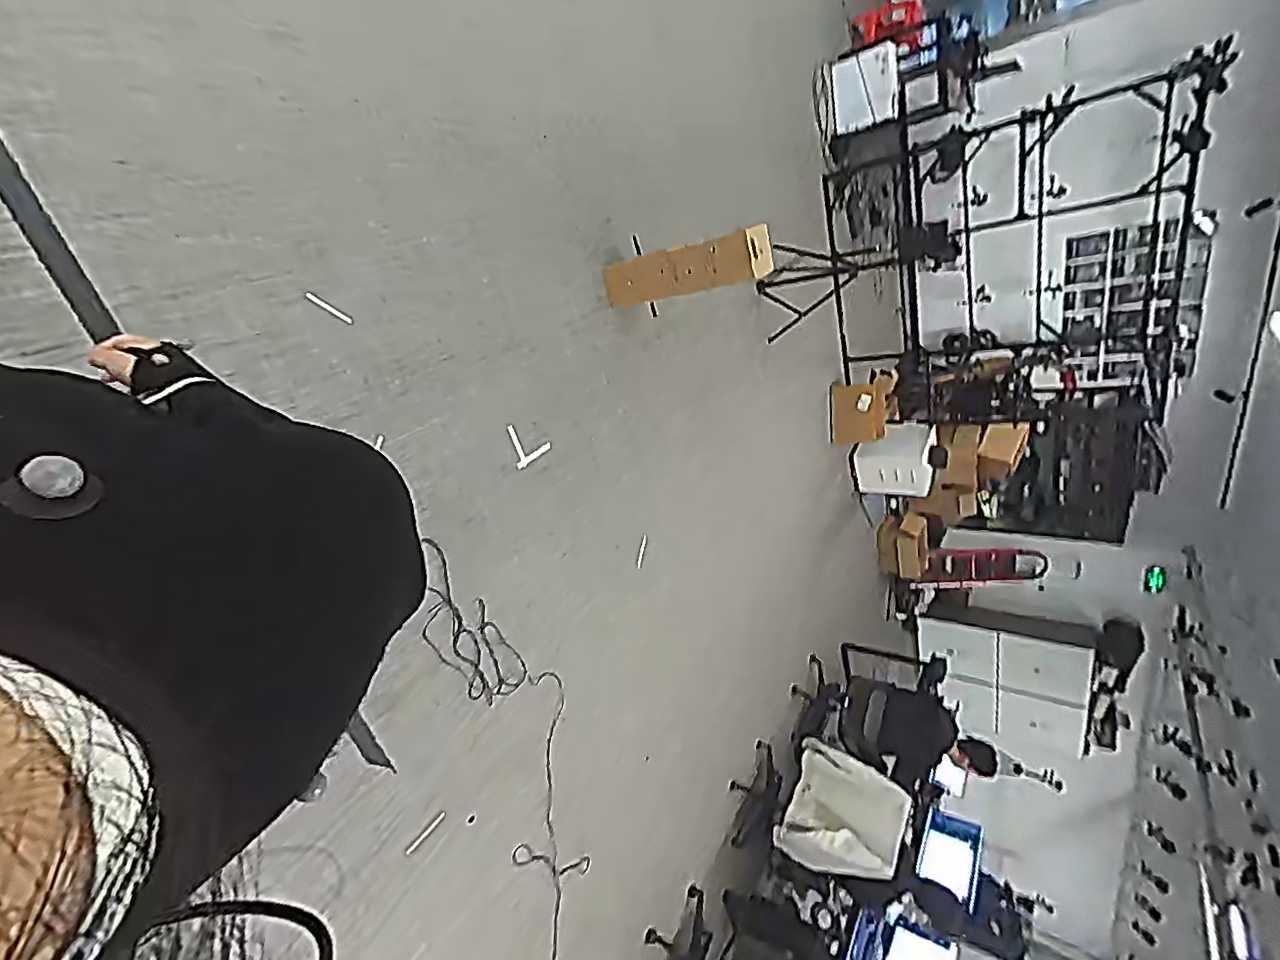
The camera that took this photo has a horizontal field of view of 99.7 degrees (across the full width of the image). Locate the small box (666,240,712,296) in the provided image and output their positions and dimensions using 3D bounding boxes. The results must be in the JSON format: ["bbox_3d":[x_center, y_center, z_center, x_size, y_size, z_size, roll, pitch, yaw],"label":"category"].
[{"bbox_3d":[0.213,-0.814,2.061,0.179,0.176,0.168,-38,121,-43],"label":"small box"}]

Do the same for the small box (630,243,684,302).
[{"bbox_3d":[0.081,-0.827,2.157,0.168,0.176,0.179,-37,120,-43],"label":"small box"}]

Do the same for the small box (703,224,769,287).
[{"bbox_3d":[0.343,-0.811,1.959,0.179,0.176,0.168,-40,122,-44],"label":"small box"}]

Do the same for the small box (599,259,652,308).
[{"bbox_3d":[-0.044,-0.829,2.264,0.168,0.176,0.179,-40,122,-42],"label":"small box"}]
